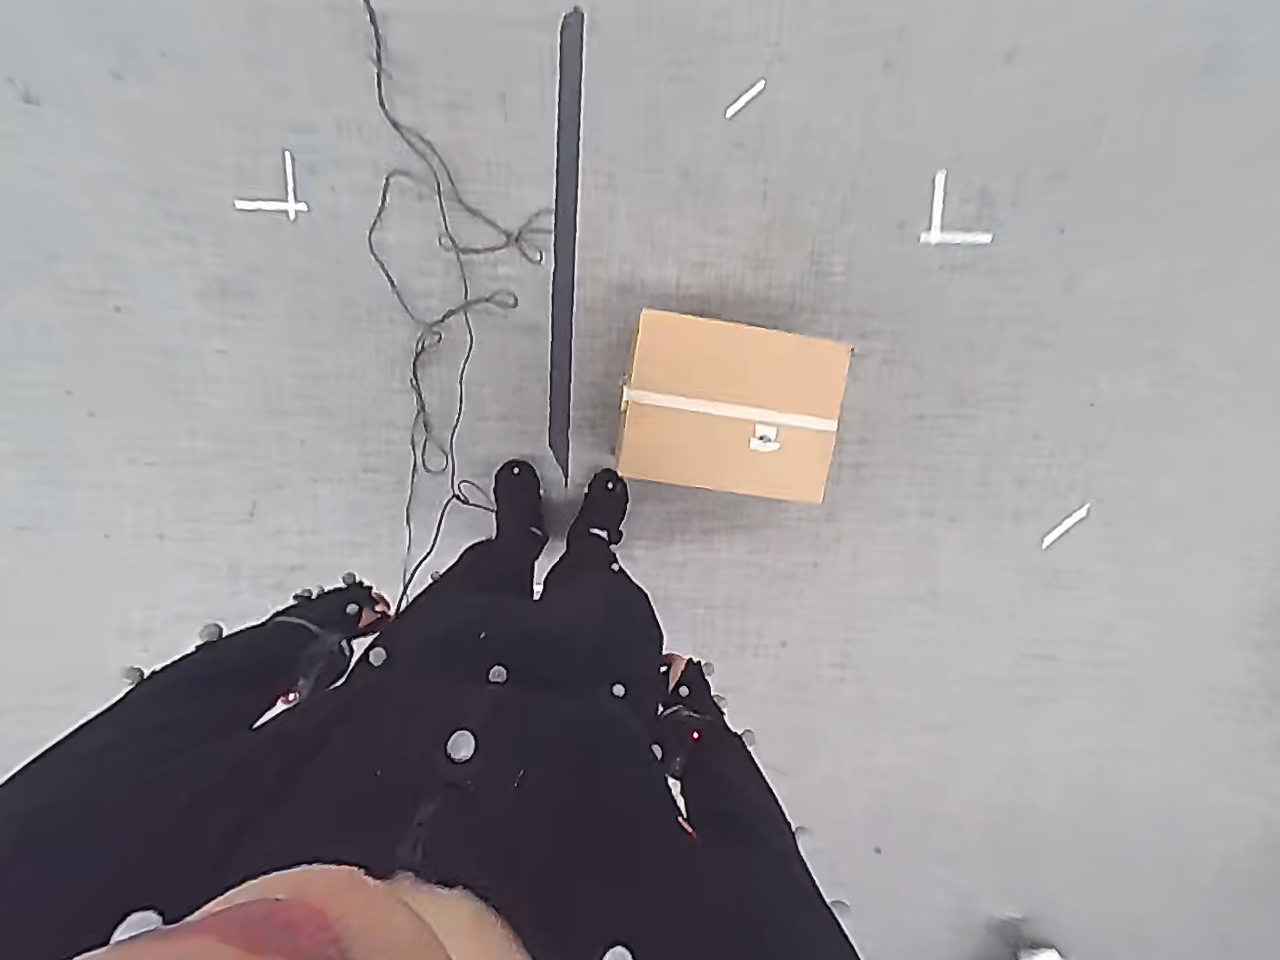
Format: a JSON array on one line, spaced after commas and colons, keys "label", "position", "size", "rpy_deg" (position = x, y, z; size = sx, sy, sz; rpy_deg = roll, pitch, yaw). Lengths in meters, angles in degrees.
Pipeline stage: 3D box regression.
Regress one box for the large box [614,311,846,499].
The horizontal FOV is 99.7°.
[{"label": "large box", "position": [0.161, -0.157, 1.168], "size": [0.408, 0.320, 0.320], "rpy_deg": [8, 99, -6]}]
